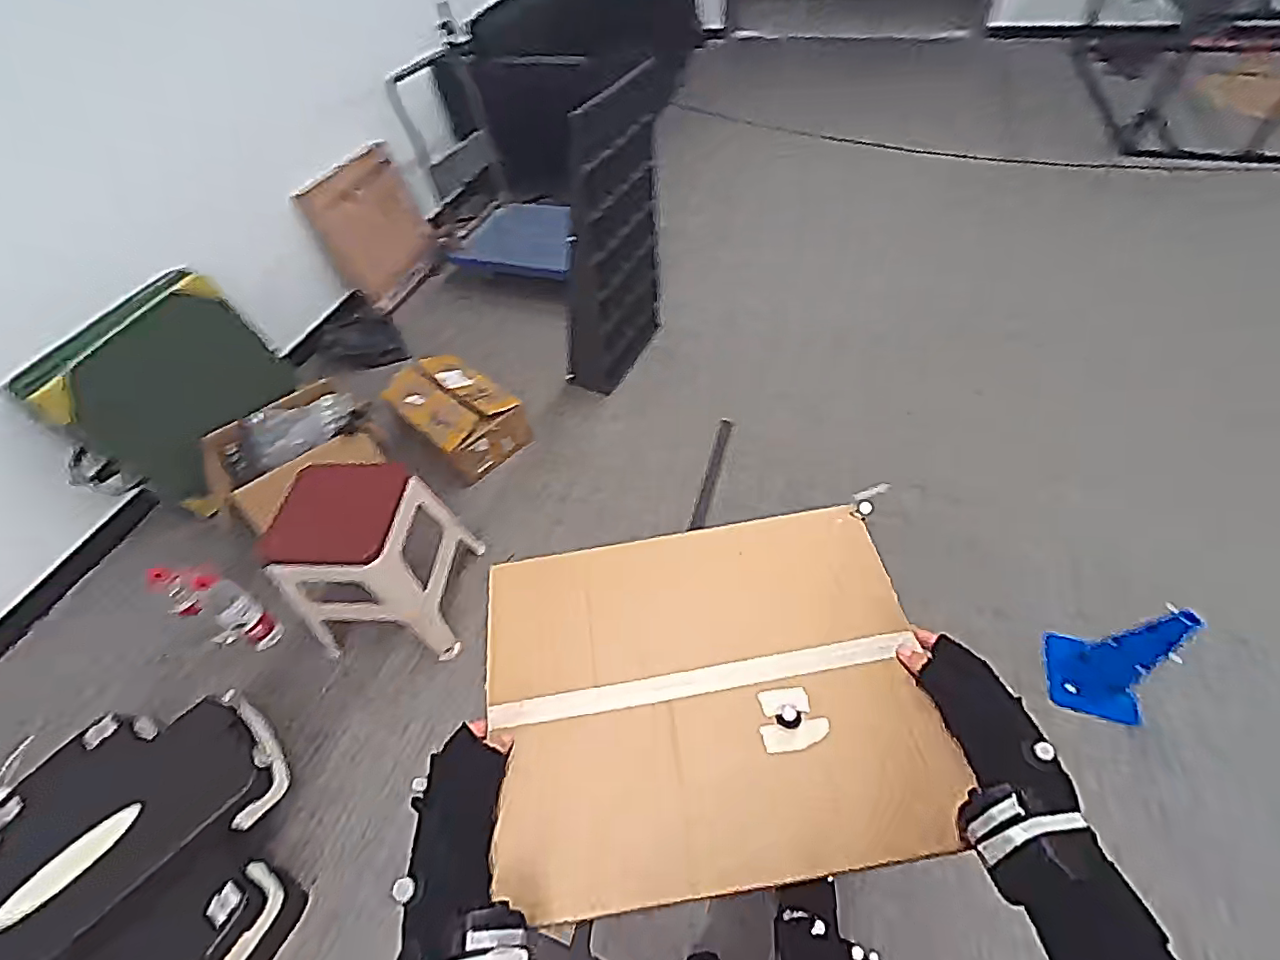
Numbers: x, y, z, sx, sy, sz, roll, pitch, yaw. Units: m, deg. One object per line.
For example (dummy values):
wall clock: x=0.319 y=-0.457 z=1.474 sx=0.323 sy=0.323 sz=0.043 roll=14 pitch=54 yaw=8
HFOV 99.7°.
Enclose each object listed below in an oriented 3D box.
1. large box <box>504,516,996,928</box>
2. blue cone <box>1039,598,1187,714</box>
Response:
large box: x=0.079 y=0.279 z=0.629 sx=0.408 sy=0.320 sz=0.320 roll=-9 pitch=55 yaw=0
blue cone: x=1.135 y=0.389 z=1.268 sx=0.193 sy=0.380 sz=0.192 roll=14 pitch=53 yaw=15
